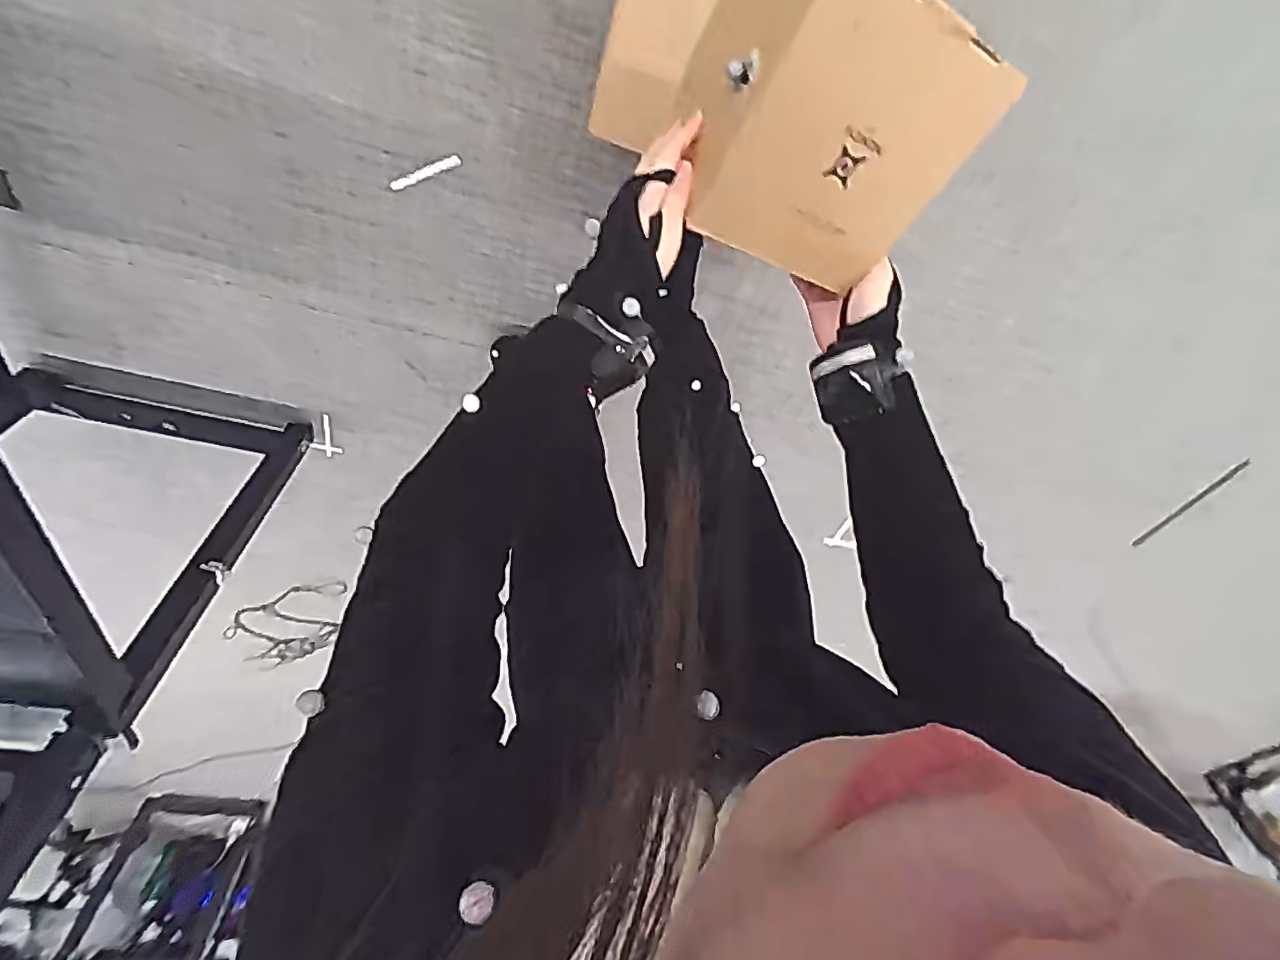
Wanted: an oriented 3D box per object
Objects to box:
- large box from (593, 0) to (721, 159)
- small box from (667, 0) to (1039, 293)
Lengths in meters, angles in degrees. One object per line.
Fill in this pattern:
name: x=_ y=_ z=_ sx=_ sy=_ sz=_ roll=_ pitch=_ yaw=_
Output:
large box: x=0.137 y=-0.648 z=0.696 sx=0.320 sy=0.320 sz=0.408 roll=12 pitch=130 yaw=-15
small box: x=0.135 y=-0.286 z=0.412 sx=0.168 sy=0.176 sz=0.179 roll=11 pitch=140 yaw=-26
